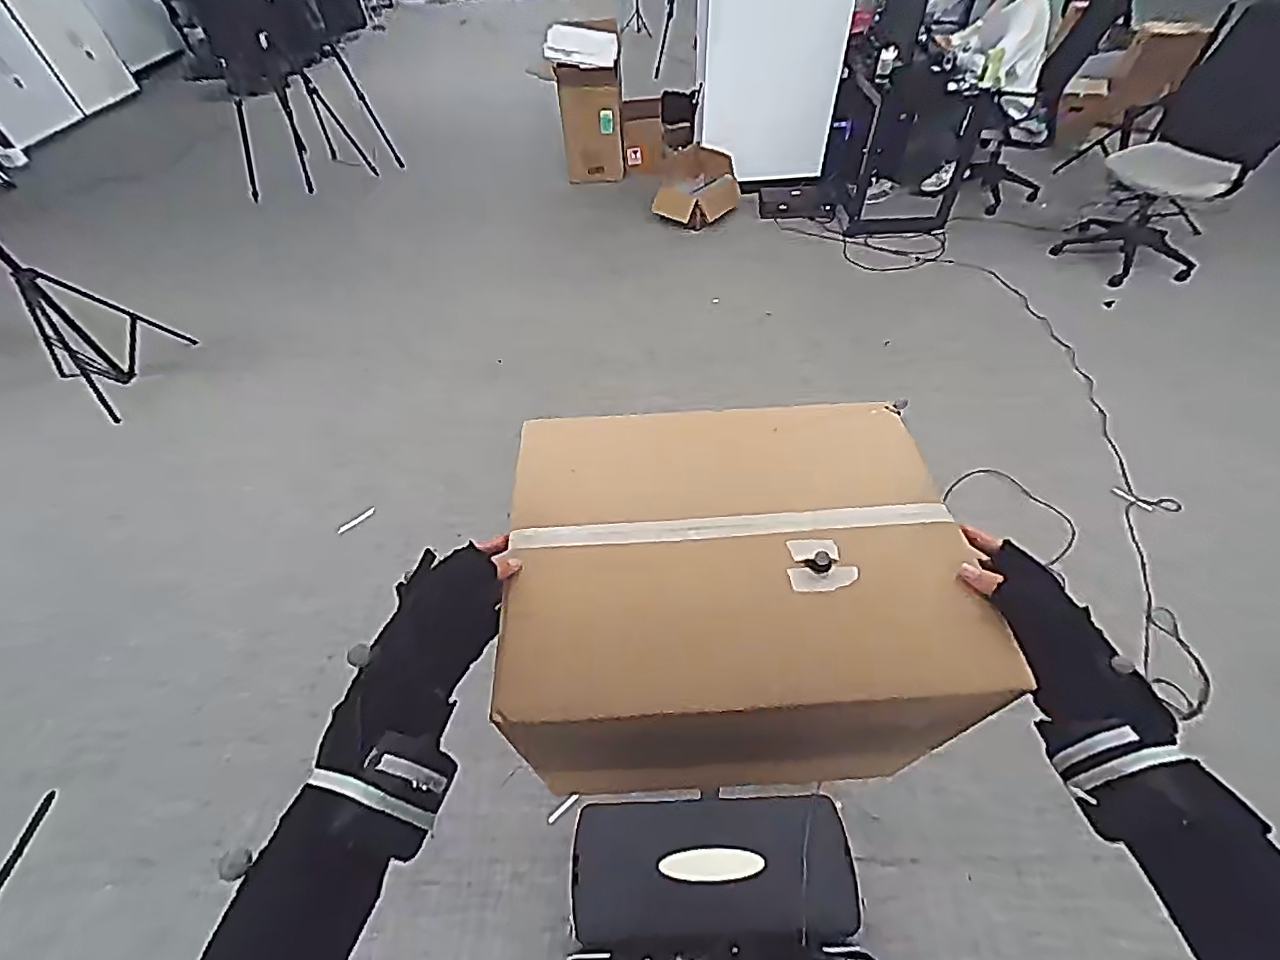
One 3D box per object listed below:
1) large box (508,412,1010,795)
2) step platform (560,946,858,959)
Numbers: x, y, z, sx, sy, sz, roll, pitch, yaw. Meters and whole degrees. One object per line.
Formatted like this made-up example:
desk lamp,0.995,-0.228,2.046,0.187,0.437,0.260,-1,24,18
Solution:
large box,0.086,0.147,0.624,0.408,0.320,0.320,-3,51,-2
step platform,0.141,1.140,1.090,0.684,0.204,0.286,-4,50,2
